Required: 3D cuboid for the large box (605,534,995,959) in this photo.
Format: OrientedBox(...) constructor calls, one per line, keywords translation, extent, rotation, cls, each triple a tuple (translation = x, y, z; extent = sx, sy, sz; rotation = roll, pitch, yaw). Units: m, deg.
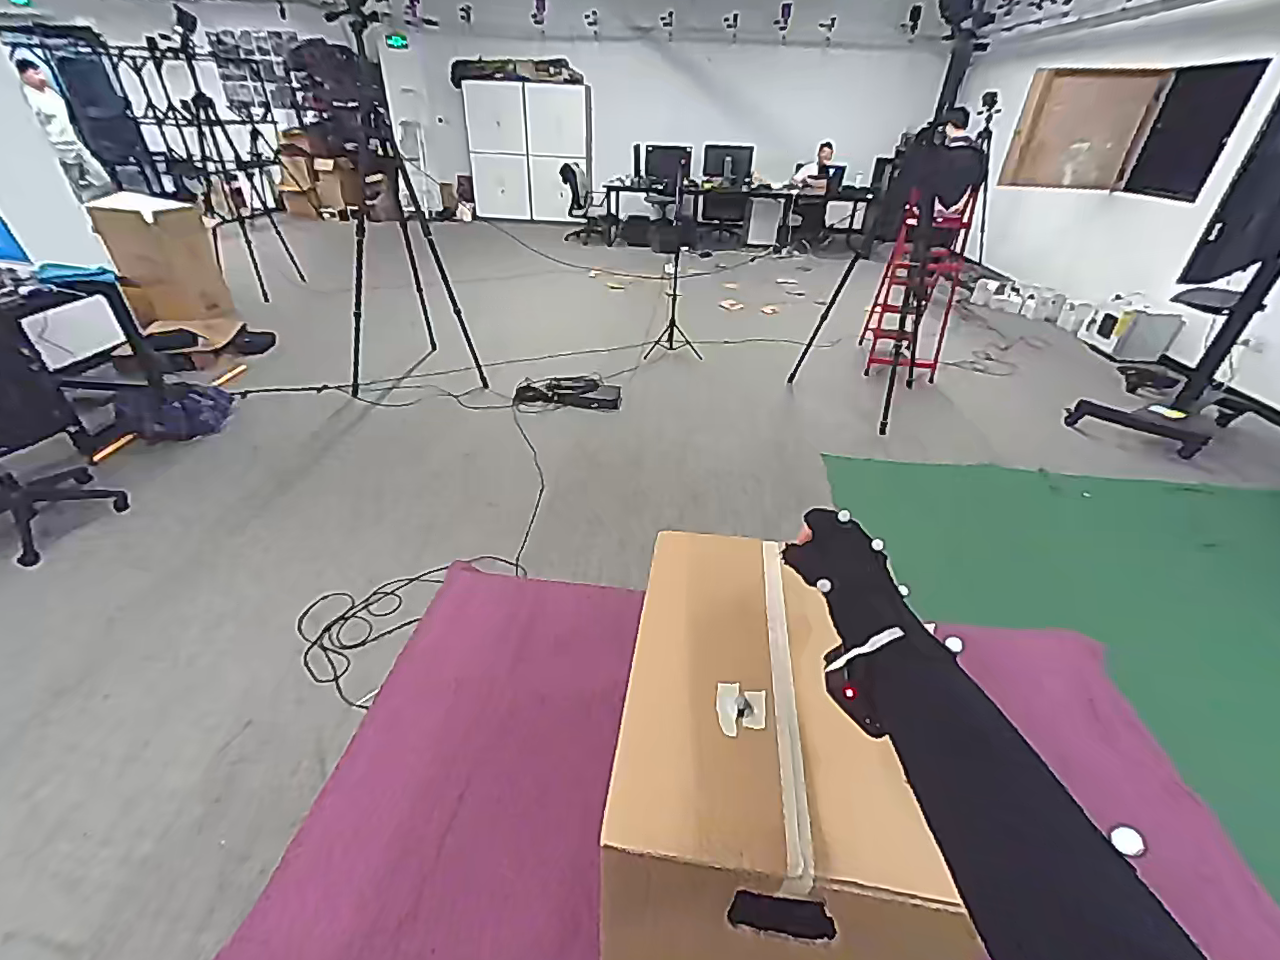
OrientedBox(translation=(0.142, 0.325, 0.675), extent=(0.320, 0.320, 0.408), rotation=(6, 34, 6), cls="large box")
